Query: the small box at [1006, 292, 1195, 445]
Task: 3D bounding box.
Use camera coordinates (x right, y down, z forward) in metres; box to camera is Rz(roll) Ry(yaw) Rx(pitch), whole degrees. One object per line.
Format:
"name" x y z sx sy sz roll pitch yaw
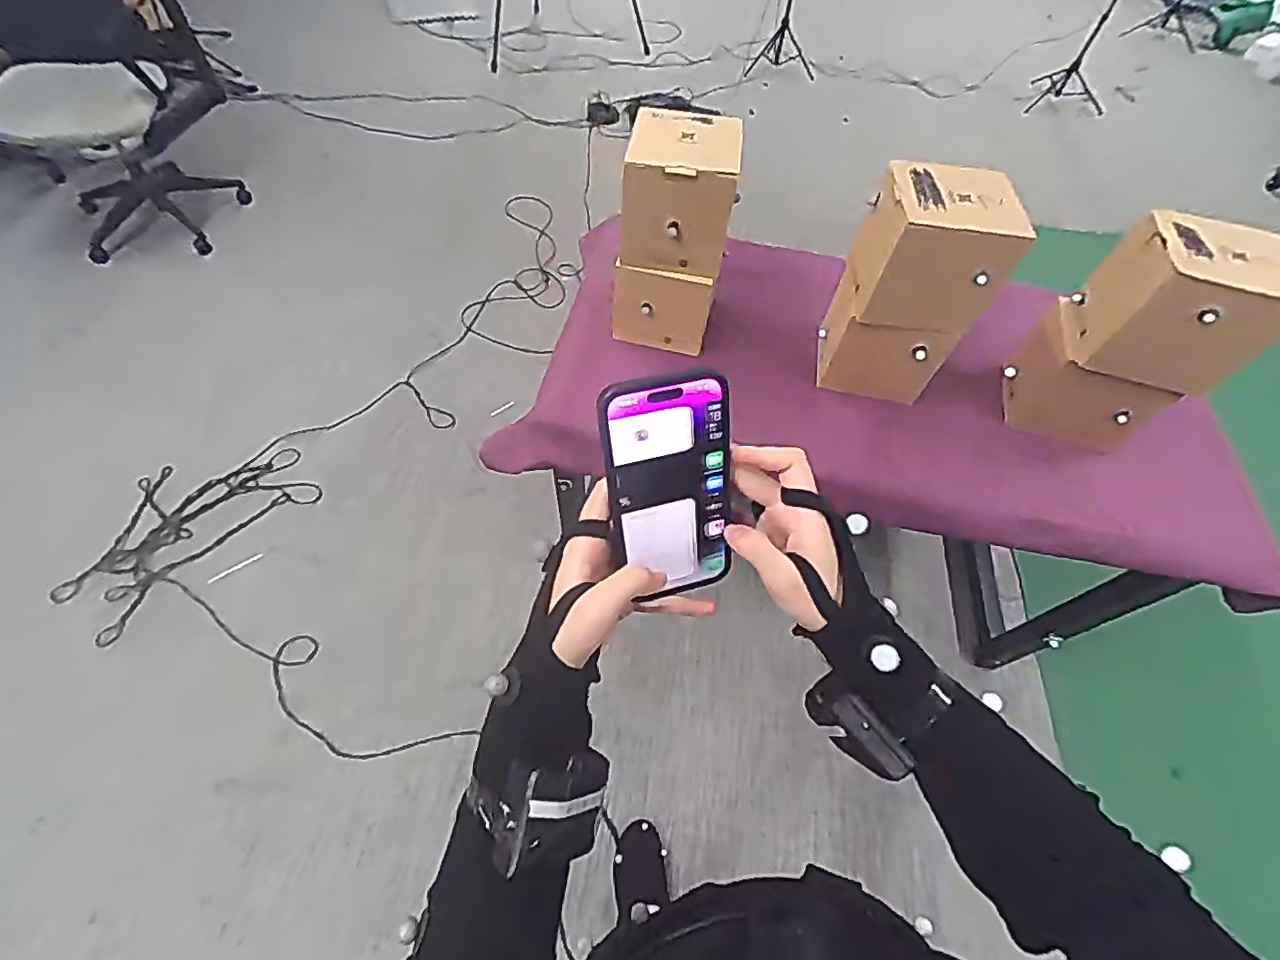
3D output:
"small box" 0.762 -0.183 0.915 0.179 0.176 0.168 17 57 9

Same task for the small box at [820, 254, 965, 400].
"small box" 0.433 -0.264 0.952 0.179 0.176 0.168 12 57 5

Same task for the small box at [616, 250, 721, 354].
"small box" 0.057 -0.359 0.998 0.168 0.176 0.179 12 57 5

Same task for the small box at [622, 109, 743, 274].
"small box" 0.065 -0.456 0.866 0.168 0.176 0.179 8 57 2

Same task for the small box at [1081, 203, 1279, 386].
"small box" 0.774 -0.259 0.770 0.179 0.176 0.168 17 57 8
